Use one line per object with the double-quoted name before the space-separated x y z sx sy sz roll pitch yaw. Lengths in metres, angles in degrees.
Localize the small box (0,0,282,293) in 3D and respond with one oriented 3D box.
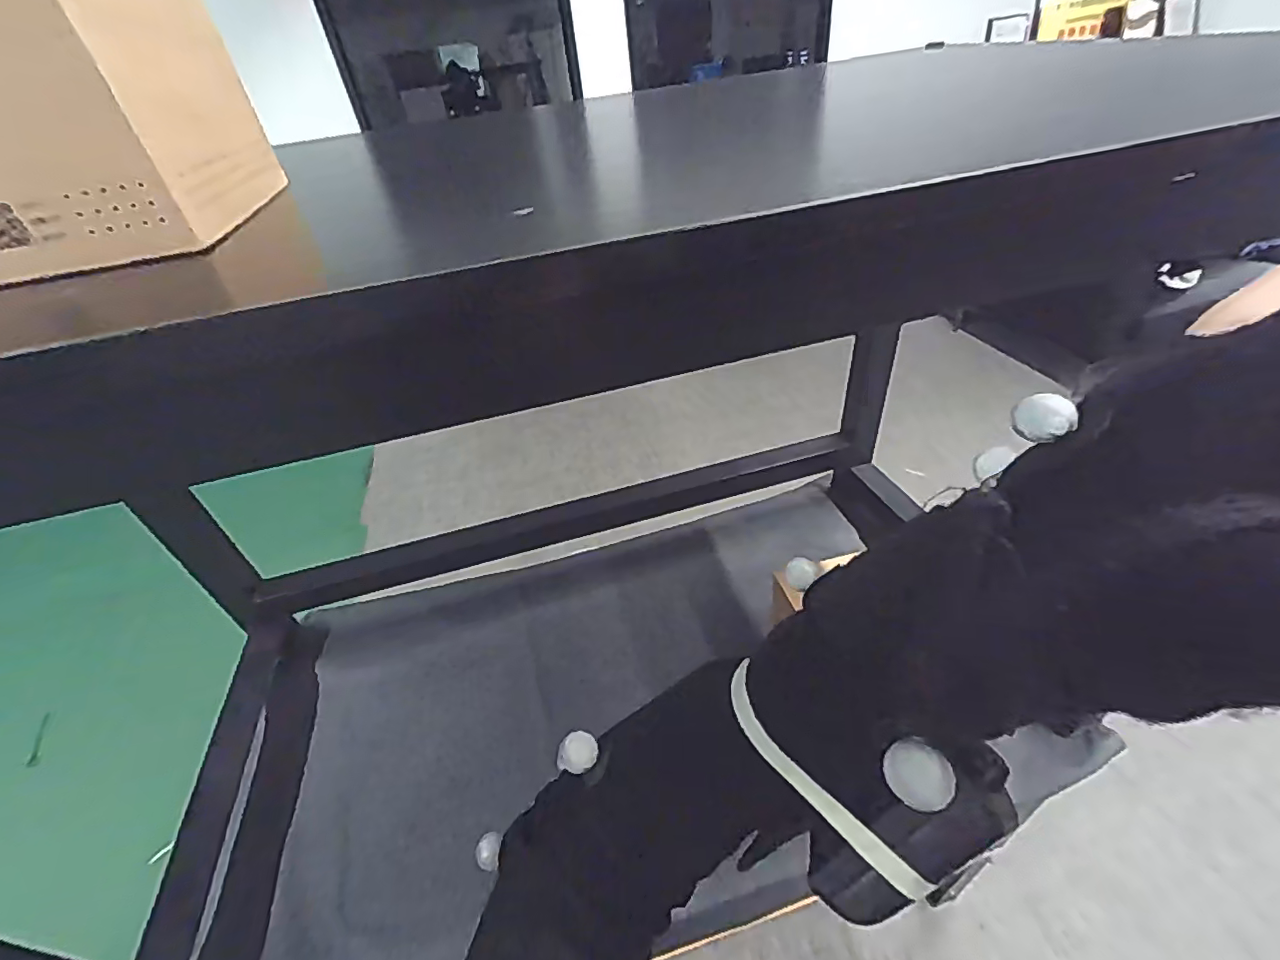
"small box" -0.293 -0.185 0.233 0.168 0.176 0.179 -15 39 -9
